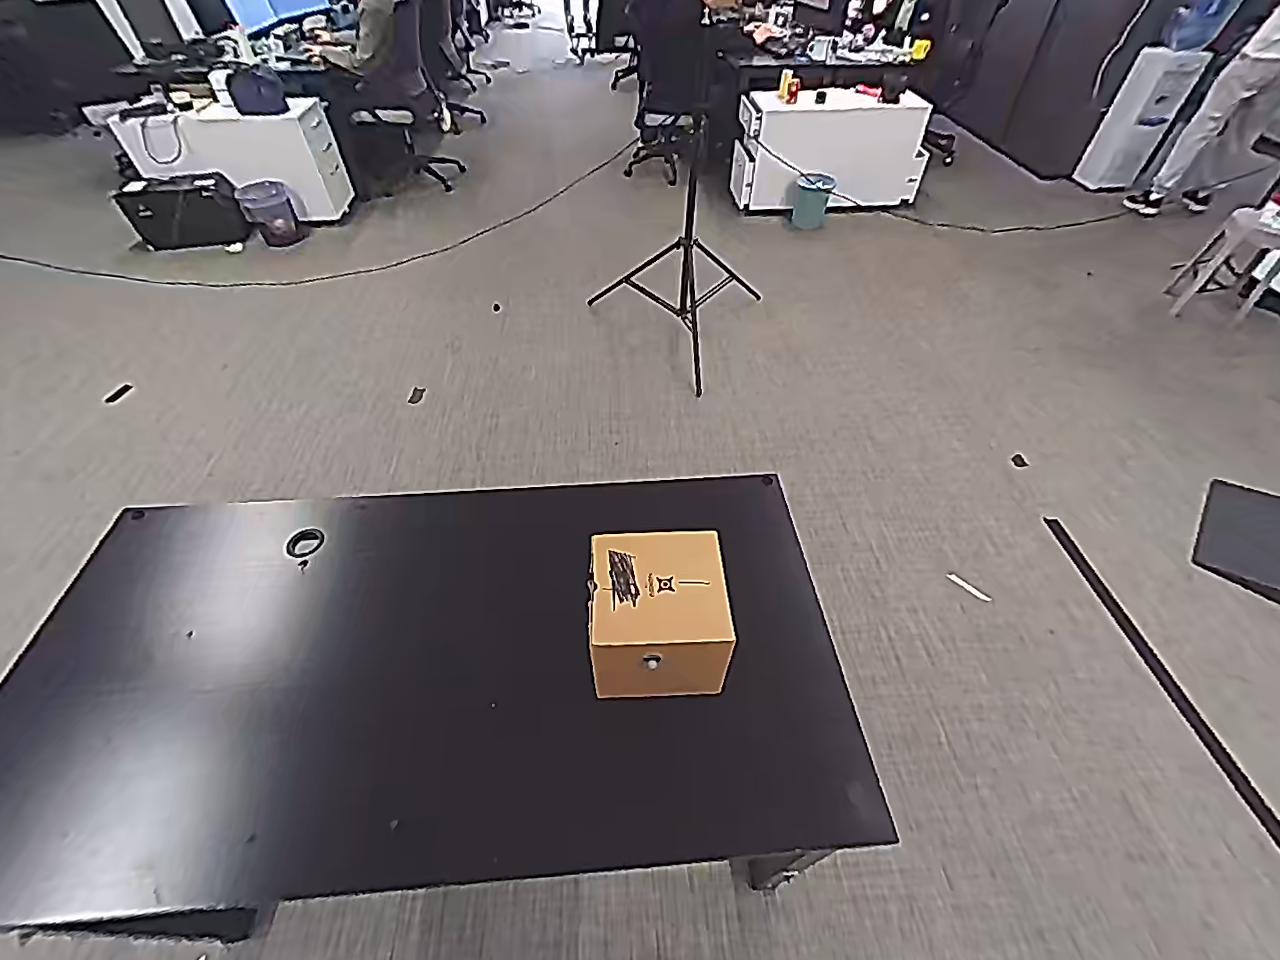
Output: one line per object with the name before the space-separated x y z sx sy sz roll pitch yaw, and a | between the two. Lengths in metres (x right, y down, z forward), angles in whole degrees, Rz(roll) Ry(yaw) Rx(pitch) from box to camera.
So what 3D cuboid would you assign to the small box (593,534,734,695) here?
small box | 0.027 0.193 0.768 0.179 0.176 0.168 -1 48 -2
